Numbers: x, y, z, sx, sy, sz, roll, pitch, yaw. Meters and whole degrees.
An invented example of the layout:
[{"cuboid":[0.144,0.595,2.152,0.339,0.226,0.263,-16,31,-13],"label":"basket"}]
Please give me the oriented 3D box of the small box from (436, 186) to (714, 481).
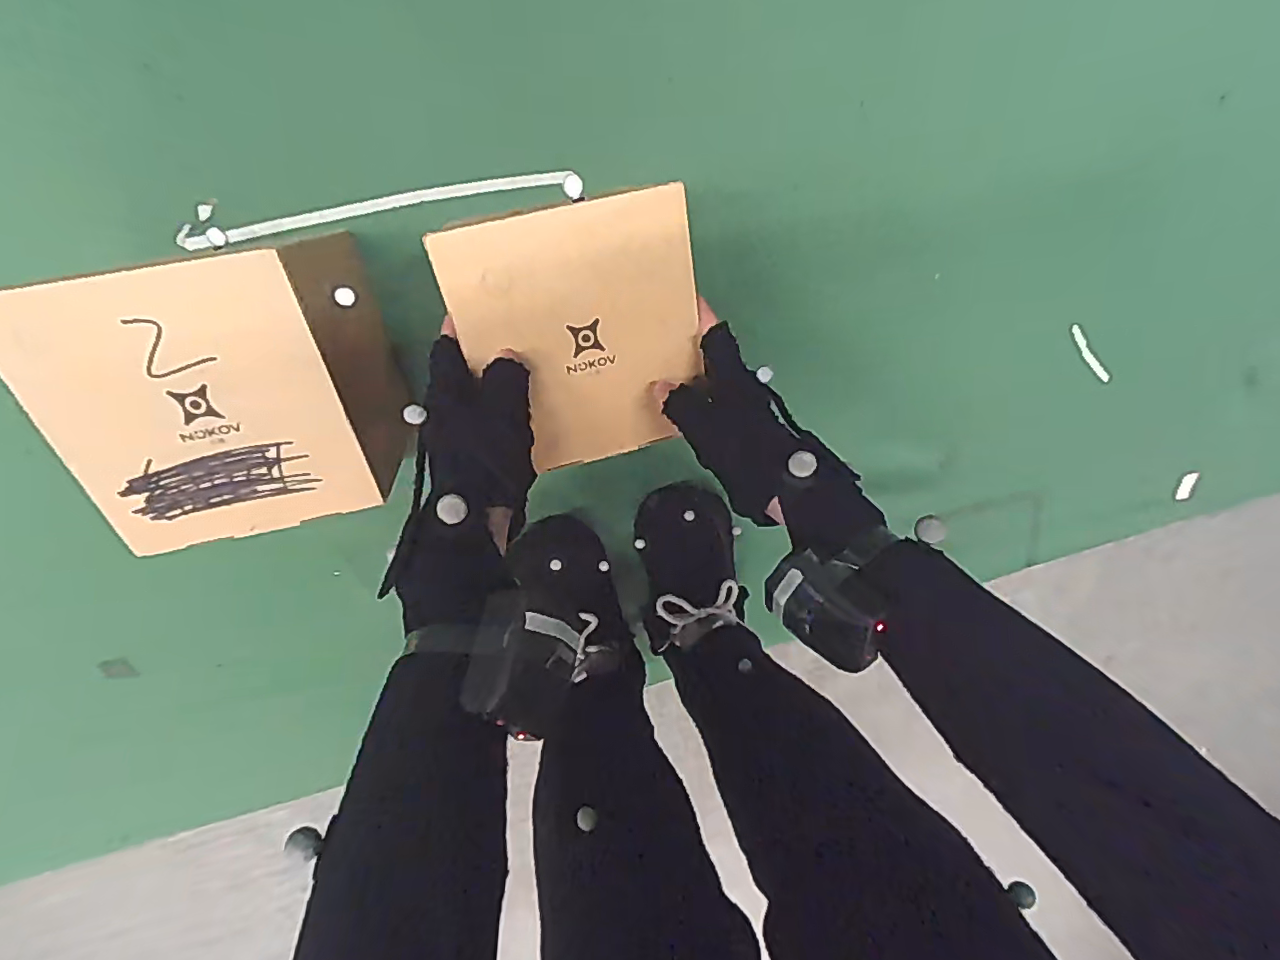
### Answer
[{"cuboid":[-0.051,-0.128,0.442,0.168,0.176,0.179,-15,121,-6],"label":"small box"}]
